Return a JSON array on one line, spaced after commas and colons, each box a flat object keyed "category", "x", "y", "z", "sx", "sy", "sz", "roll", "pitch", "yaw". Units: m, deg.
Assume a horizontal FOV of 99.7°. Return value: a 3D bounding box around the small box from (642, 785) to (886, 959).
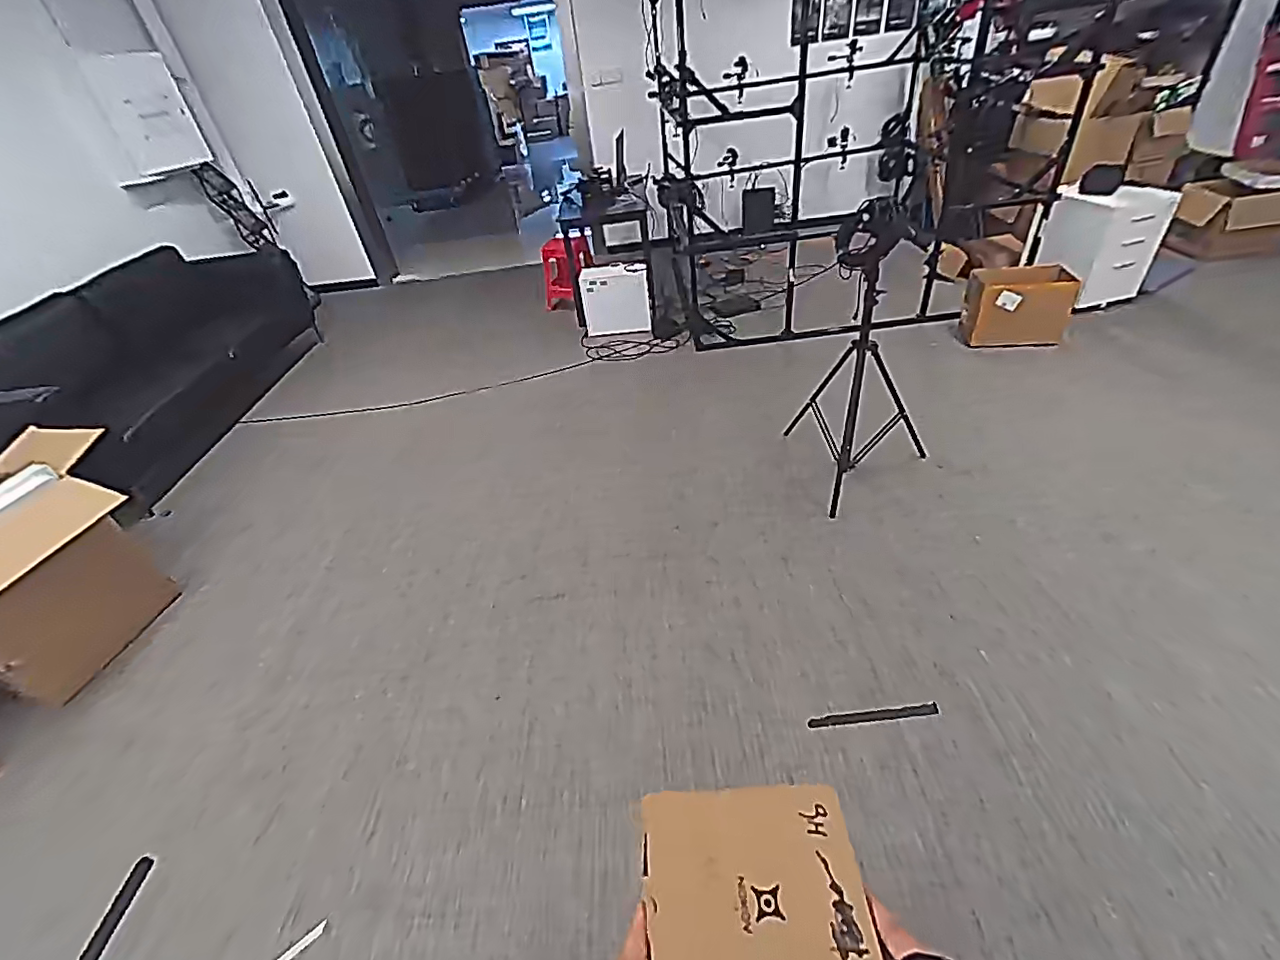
[{"category": "small box", "x": 0.095, "y": 0.388, "z": 0.472, "sx": 0.179, "sy": 0.176, "sz": 0.168, "roll": -3, "pitch": 42, "yaw": 0}]
